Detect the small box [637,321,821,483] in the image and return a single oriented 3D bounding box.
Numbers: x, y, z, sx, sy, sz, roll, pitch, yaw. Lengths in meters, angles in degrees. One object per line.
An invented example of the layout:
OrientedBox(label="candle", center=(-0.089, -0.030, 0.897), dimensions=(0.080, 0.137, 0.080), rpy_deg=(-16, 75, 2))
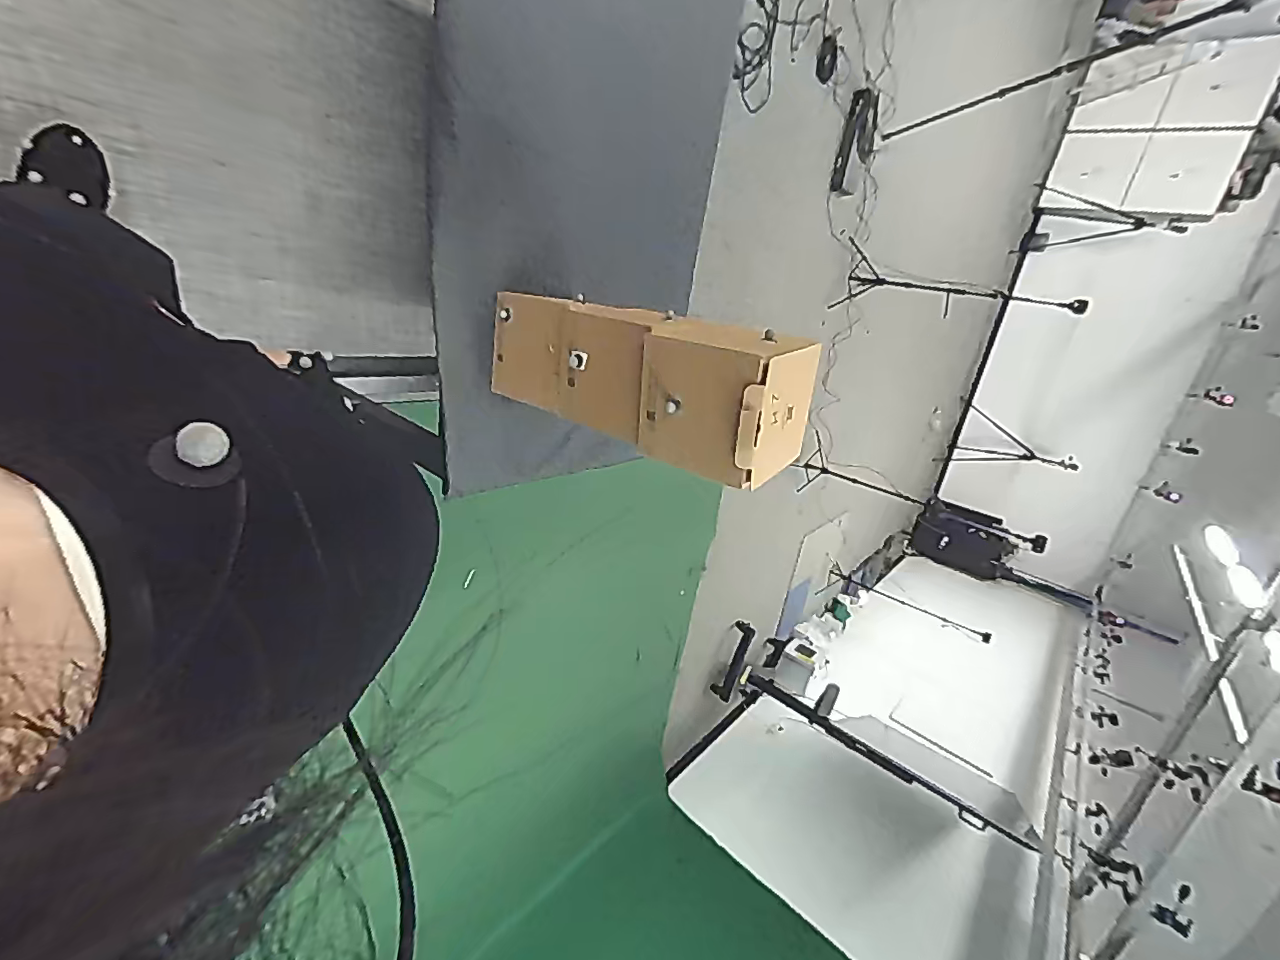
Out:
OrientedBox(label="small box", center=(0.118, -0.116, 0.729), dimensions=(0.179, 0.176, 0.168), rpy_deg=(-24, 126, -47))

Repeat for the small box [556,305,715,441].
OrientedBox(label="small box", center=(-0.005, -0.172, 0.826), dimensions=(0.179, 0.176, 0.168), rpy_deg=(-20, 123, -48))

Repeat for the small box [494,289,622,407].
OrientedBox(label="small box", center=(-0.128, -0.224, 0.918), dimensions=(0.179, 0.176, 0.168), rpy_deg=(-16, 121, -51))
